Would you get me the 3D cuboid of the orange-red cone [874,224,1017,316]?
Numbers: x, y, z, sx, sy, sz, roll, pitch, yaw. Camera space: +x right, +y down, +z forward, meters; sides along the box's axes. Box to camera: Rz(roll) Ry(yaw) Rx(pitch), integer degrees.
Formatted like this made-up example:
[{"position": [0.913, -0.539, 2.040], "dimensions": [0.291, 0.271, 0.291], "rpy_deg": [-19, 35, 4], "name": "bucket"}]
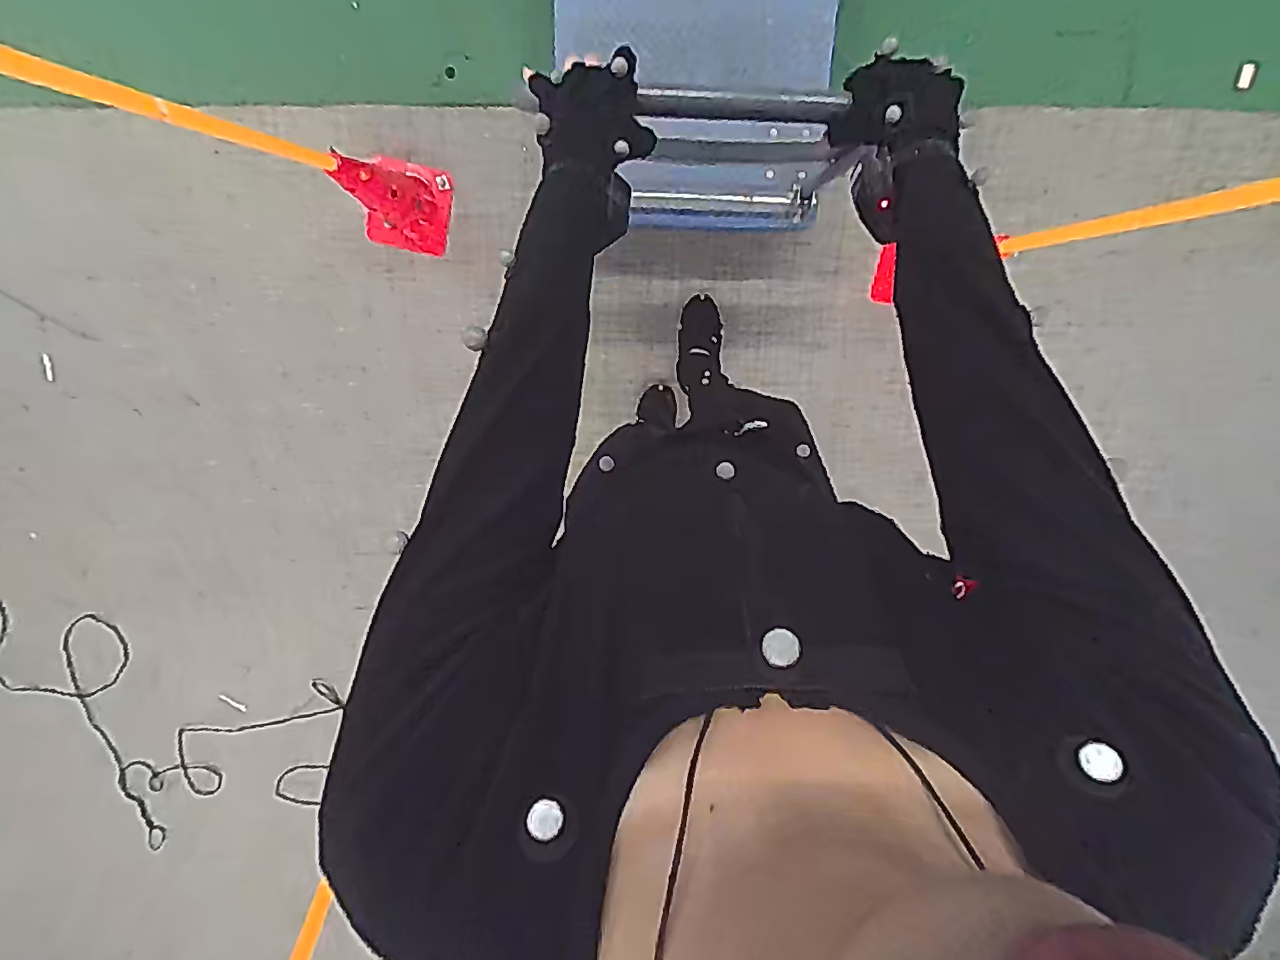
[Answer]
[{"position": [0.713, -0.490, 1.213], "dimensions": [0.198, 0.360, 0.199], "rpy_deg": [11, 105, -2], "name": "orange-red cone"}]
